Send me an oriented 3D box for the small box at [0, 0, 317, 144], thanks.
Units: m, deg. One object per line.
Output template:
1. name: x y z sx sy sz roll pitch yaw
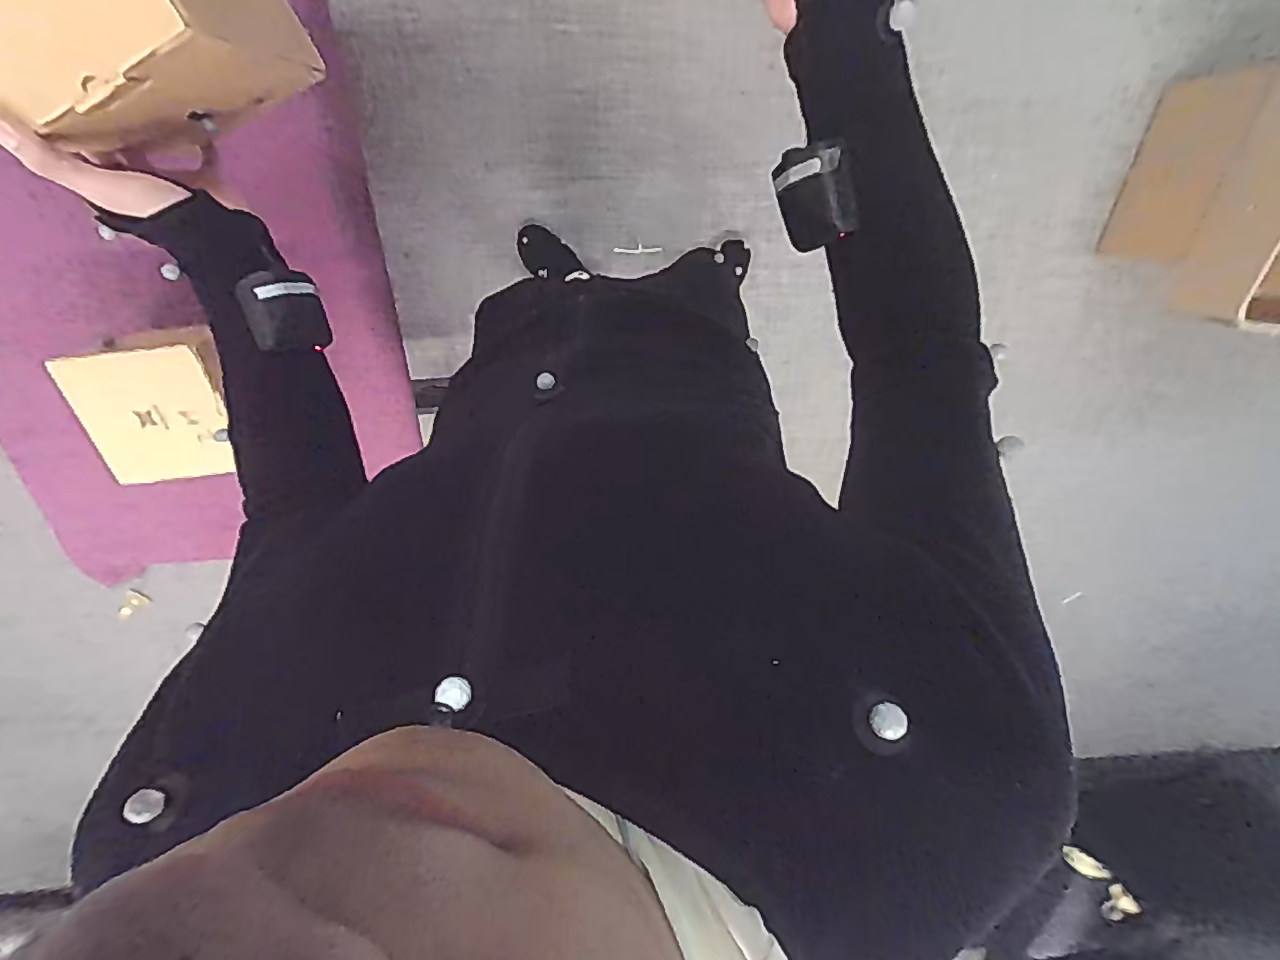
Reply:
1. small box: -0.378 -0.359 0.374 0.168 0.176 0.179 -20 119 10

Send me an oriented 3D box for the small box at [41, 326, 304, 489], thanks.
1. small box: -0.603 -0.103 0.729 0.179 0.176 0.168 -6 117 -1
